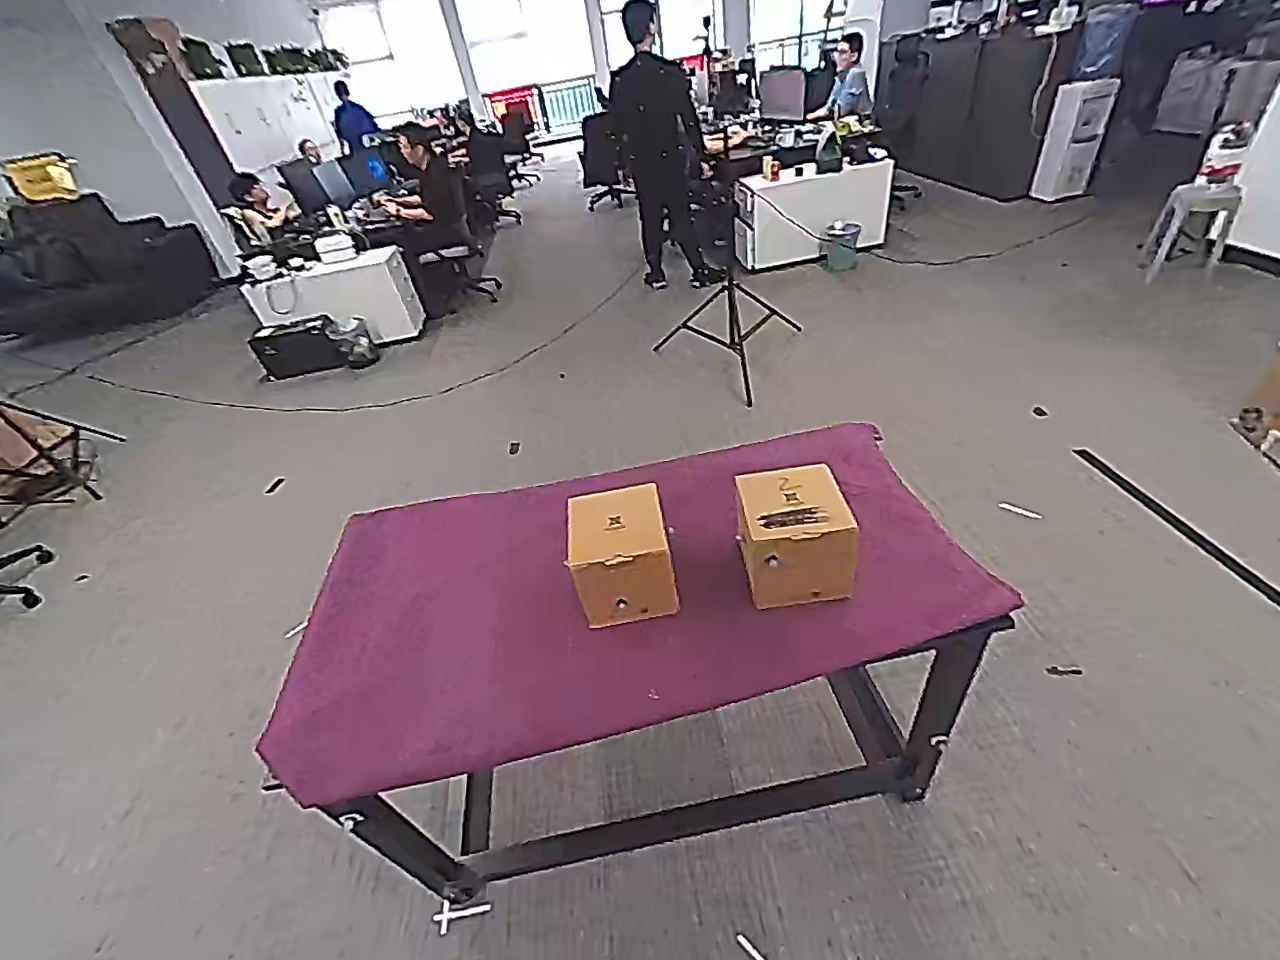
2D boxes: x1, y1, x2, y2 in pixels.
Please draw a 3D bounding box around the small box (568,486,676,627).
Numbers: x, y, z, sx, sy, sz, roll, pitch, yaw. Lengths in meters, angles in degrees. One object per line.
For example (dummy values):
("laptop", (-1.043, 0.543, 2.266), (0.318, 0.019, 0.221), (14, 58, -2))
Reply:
("small box", (-0.032, 0.139, 0.985), (0.168, 0.176, 0.179), (-10, 39, 0))
